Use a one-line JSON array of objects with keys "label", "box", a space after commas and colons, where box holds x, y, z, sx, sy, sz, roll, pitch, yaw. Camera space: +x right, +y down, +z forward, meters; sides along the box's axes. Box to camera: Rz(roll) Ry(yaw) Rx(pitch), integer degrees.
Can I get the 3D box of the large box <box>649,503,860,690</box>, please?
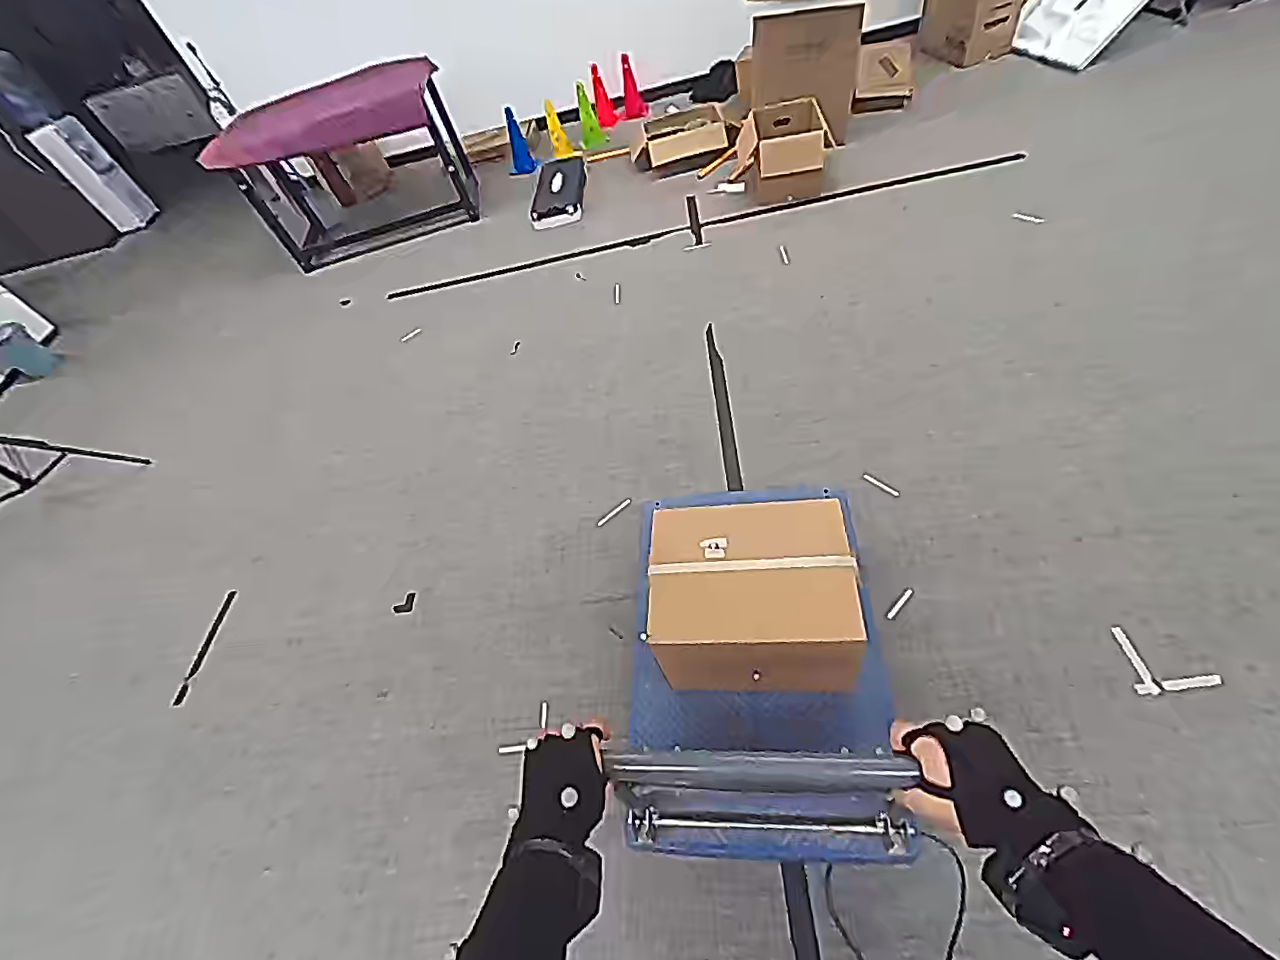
[{"label": "large box", "box": [0.251, 0.279, 1.232, 0.408, 0.320, 0.320, -5, 51, 12]}]
